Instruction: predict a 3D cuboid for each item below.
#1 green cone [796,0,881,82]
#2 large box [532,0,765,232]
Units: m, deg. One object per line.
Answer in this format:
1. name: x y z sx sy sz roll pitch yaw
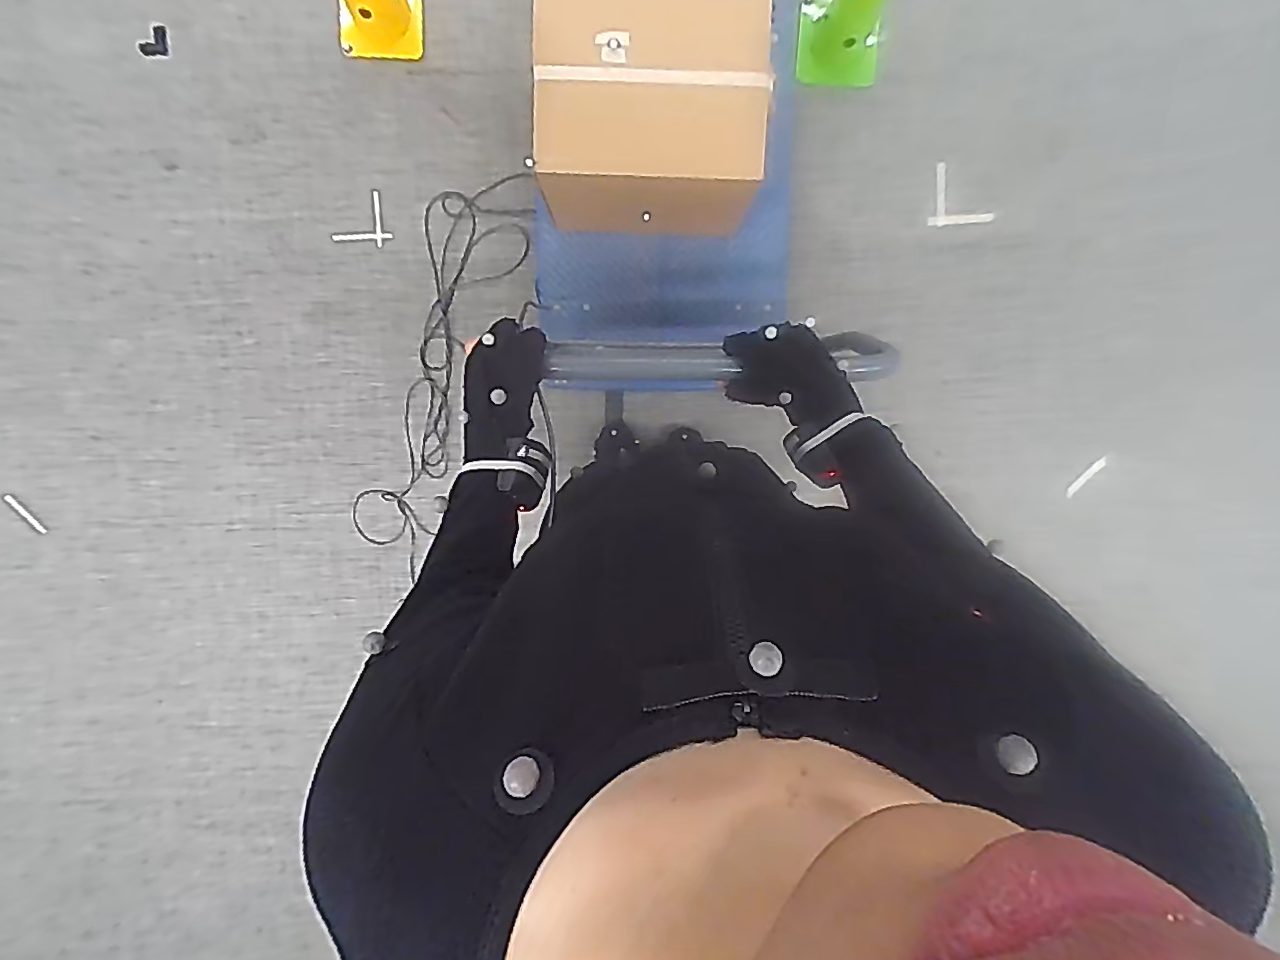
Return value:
1. green cone: 0.498 -1.089 1.184 0.202 0.368 0.200 2 97 -2
2. large box: 0.015 -0.702 1.078 0.408 0.320 0.320 1 97 0
